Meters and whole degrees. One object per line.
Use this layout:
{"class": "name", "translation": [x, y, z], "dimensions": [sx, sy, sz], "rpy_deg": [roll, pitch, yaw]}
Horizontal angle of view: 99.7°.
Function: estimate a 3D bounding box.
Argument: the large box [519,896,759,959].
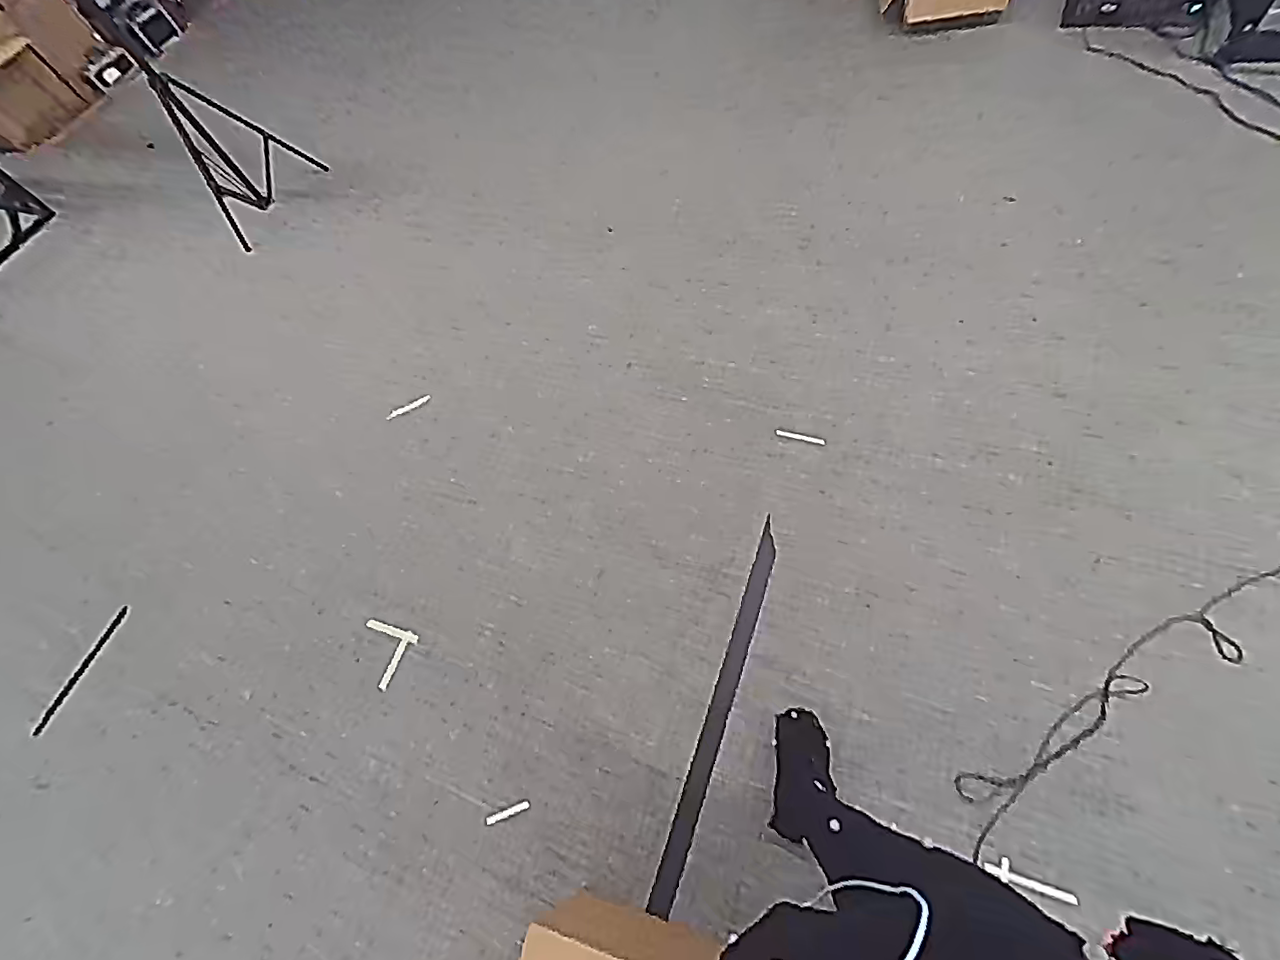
{"class": "large box", "translation": [-0.005, 0.975, 0.913], "dimensions": [0.408, 0.320, 0.320], "rpy_deg": [8, 63, 17]}
